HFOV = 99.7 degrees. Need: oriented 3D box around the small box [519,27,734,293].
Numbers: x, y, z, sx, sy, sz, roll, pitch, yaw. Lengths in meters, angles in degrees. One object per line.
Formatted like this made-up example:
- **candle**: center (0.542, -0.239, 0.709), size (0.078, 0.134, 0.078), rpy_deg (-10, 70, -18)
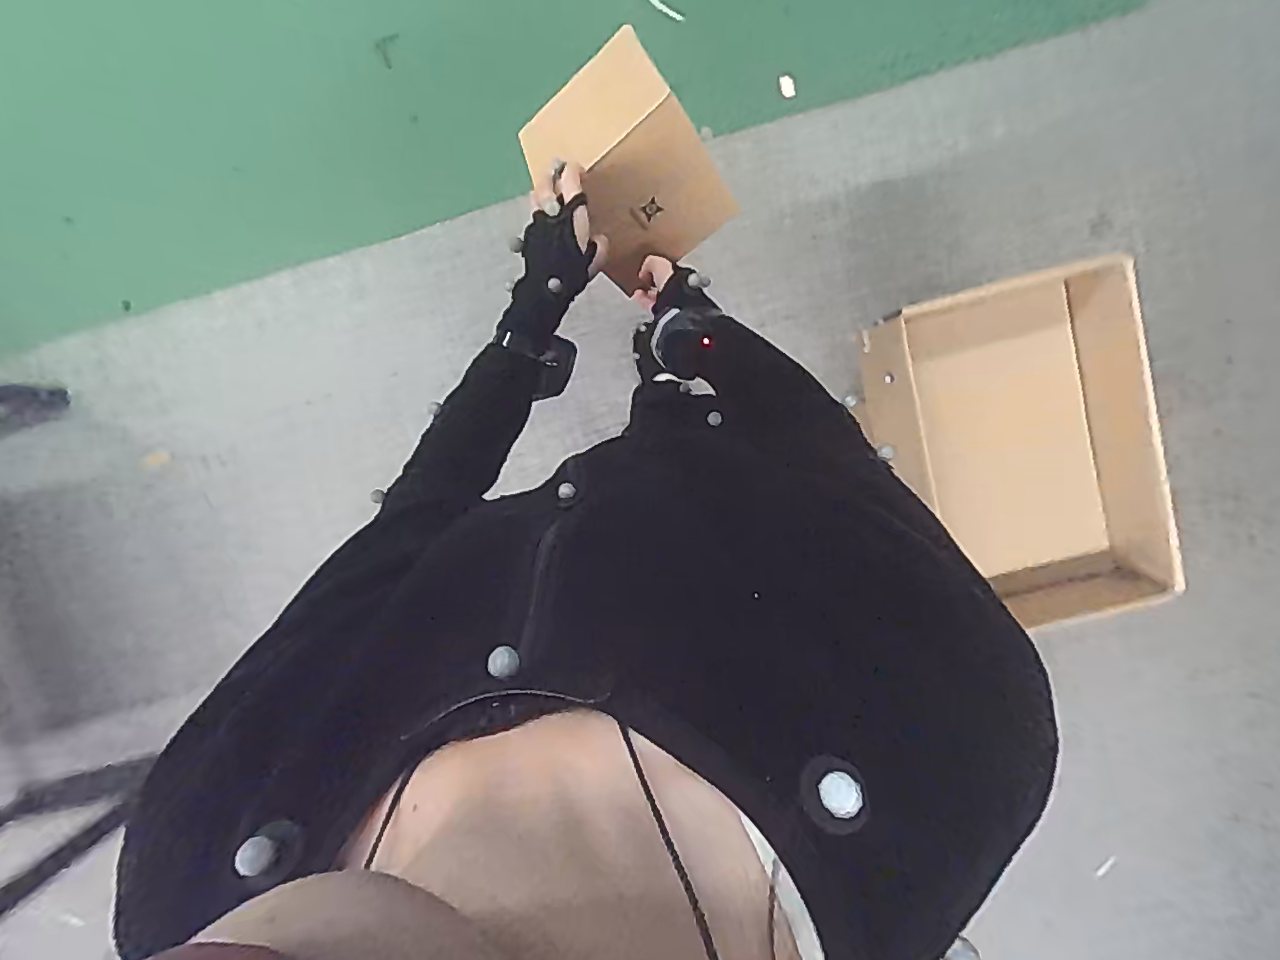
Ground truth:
- **small box**: center (-0.022, -0.370, 0.639), size (0.179, 0.168, 0.176), rpy_deg (-31, 58, 24)
